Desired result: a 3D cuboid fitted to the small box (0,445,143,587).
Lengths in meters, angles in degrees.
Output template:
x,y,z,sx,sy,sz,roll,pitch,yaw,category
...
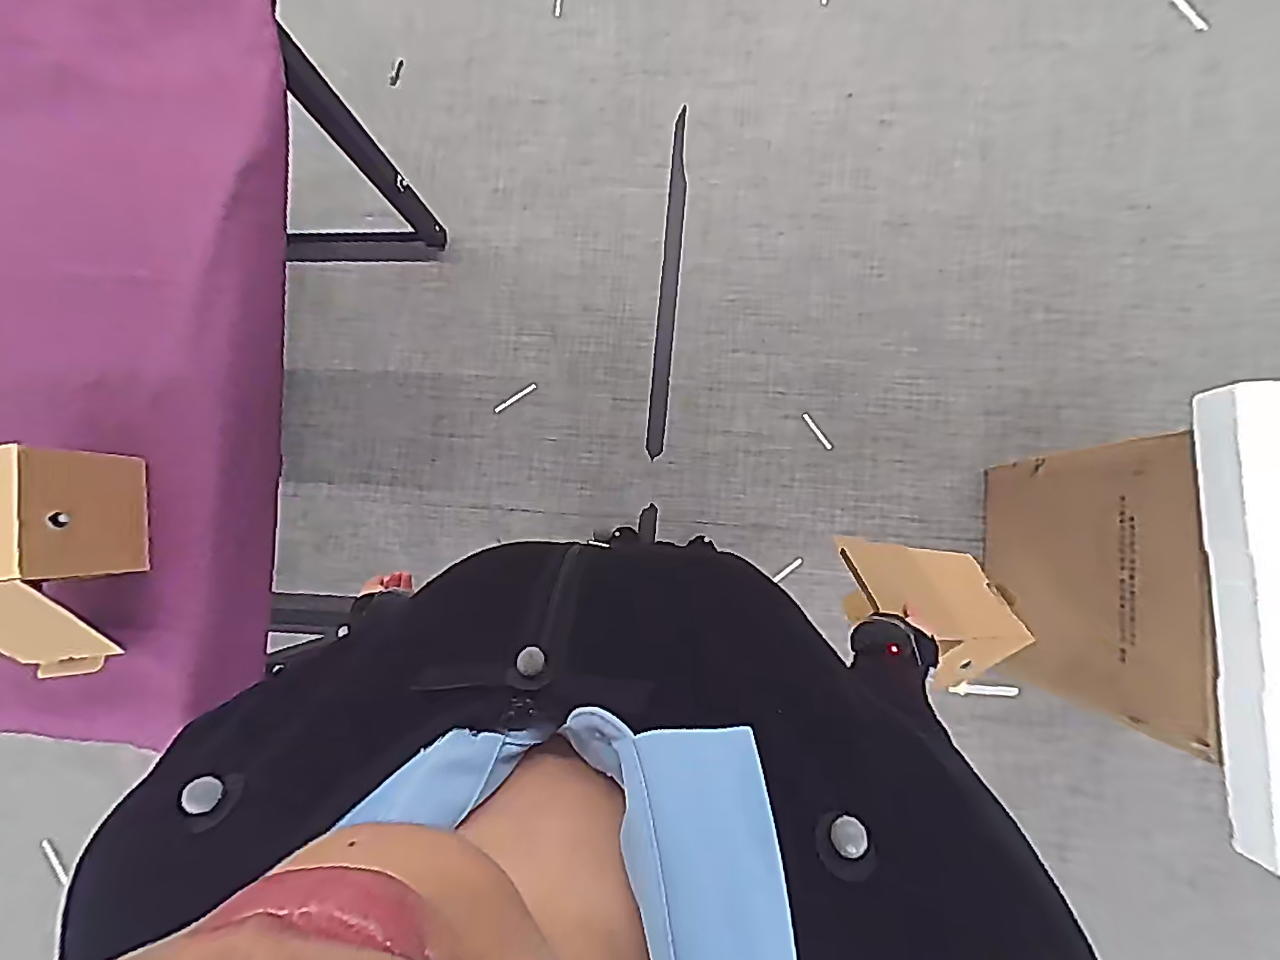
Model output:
x,y,z,sx,sy,sz,roll,pitch,yaw,category
-0.844,0.056,0.751,0.168,0.176,0.179,-7,84,3,small box
